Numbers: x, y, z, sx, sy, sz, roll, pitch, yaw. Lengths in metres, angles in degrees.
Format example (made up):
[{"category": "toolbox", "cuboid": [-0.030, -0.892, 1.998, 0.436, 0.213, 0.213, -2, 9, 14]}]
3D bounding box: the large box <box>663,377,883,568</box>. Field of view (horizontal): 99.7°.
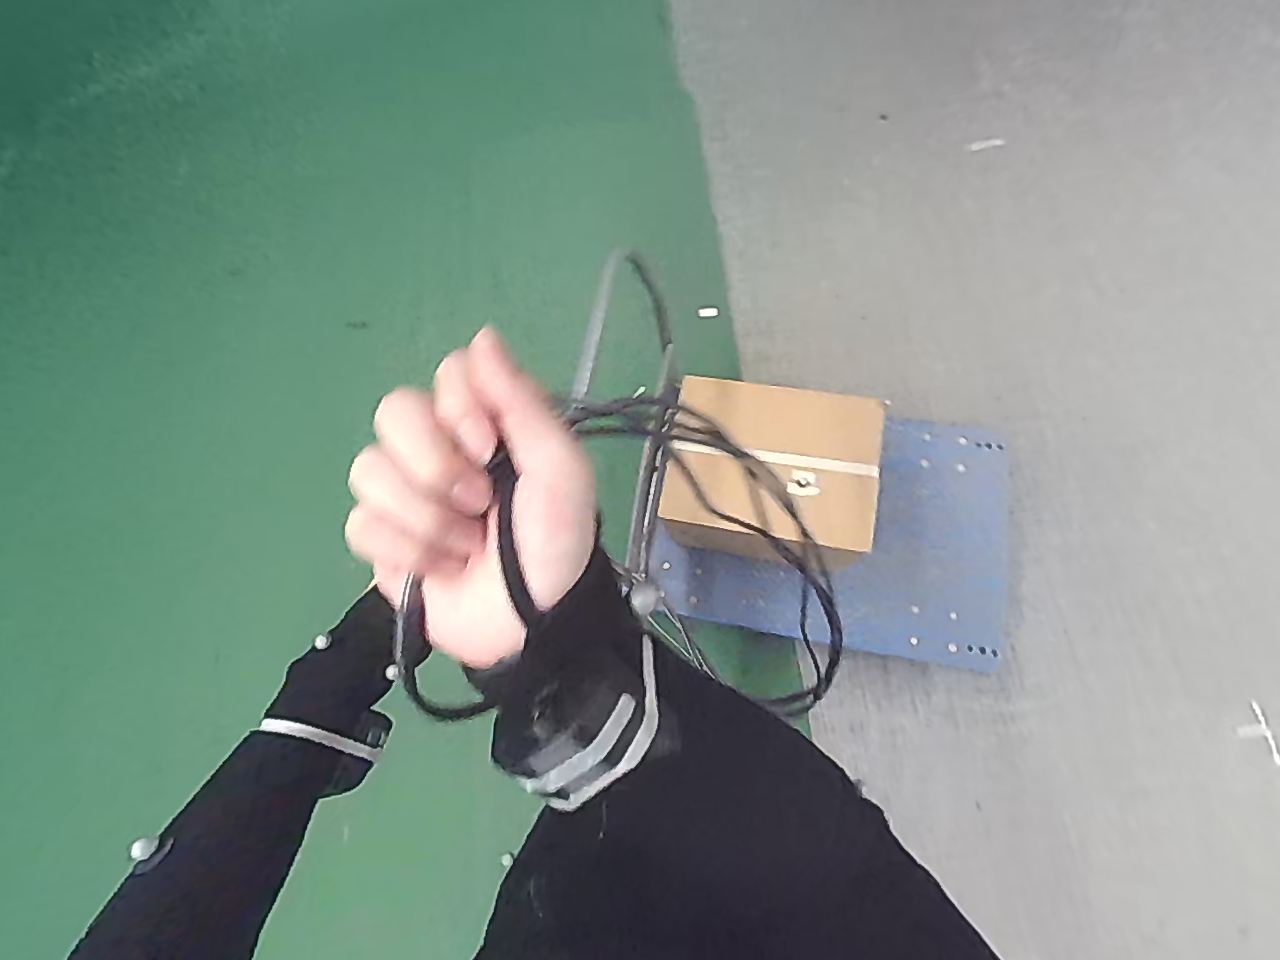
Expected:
[{"category": "large box", "cuboid": [0.281, -0.004, 1.210, 0.408, 0.320, 0.320, 9, 76, 10]}]
